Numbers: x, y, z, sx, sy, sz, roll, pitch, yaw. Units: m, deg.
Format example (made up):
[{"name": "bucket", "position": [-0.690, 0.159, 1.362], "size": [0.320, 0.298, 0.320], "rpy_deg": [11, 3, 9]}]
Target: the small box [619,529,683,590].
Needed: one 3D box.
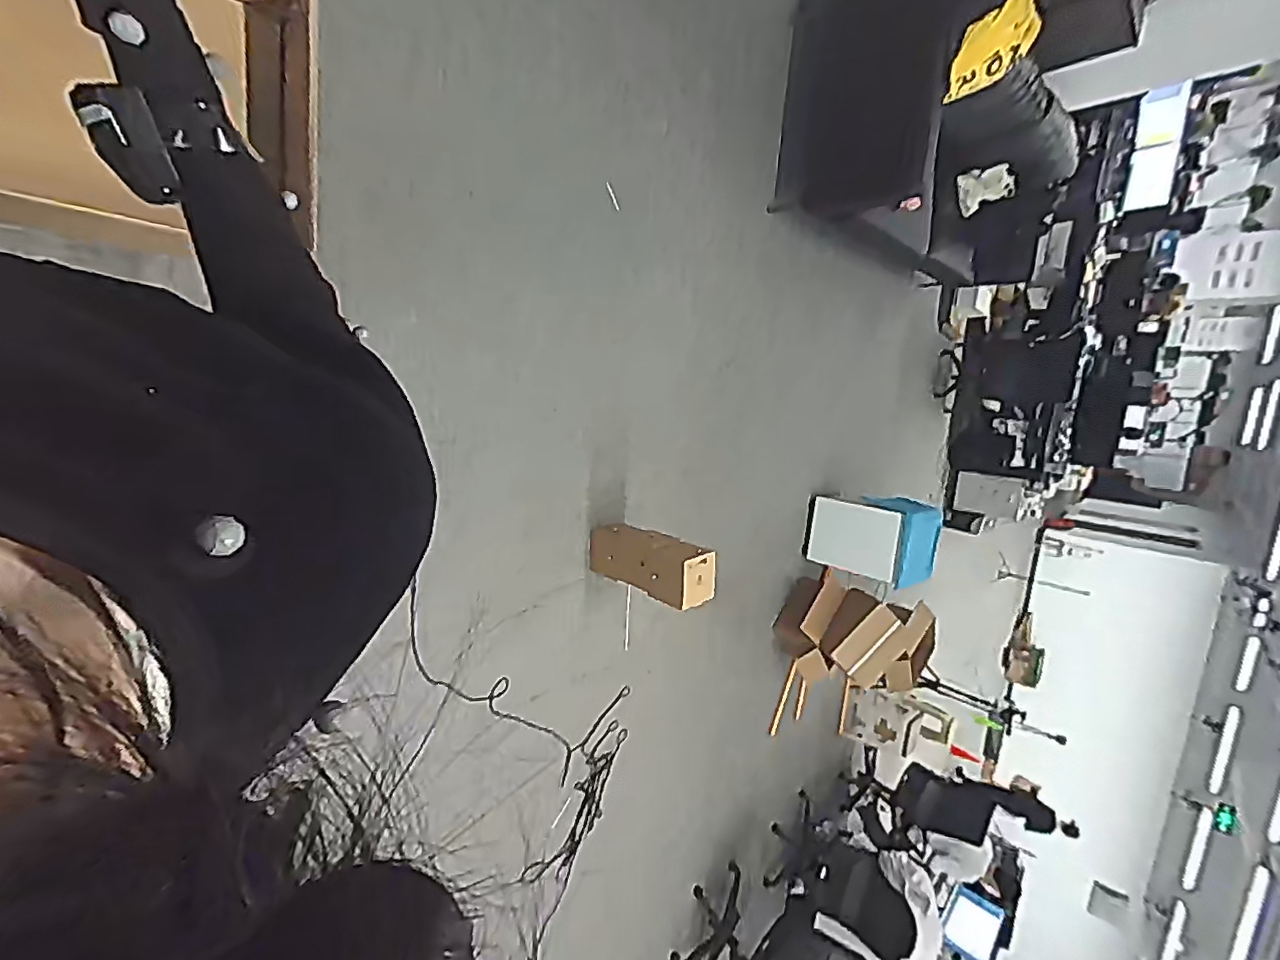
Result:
[{"name": "small box", "position": [0.039, 0.285, 1.987], "size": [0.168, 0.176, 0.179], "rpy_deg": [-6, 103, -43]}]

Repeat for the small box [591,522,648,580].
[{"name": "small box", "position": [-0.077, 0.268, 2.102], "size": [0.168, 0.176, 0.179], "rpy_deg": [-7, 104, -44]}]

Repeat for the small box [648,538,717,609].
[{"name": "small box", "position": [0.143, 0.317, 1.864], "size": [0.168, 0.176, 0.179], "rpy_deg": [-9, 106, -44]}]
